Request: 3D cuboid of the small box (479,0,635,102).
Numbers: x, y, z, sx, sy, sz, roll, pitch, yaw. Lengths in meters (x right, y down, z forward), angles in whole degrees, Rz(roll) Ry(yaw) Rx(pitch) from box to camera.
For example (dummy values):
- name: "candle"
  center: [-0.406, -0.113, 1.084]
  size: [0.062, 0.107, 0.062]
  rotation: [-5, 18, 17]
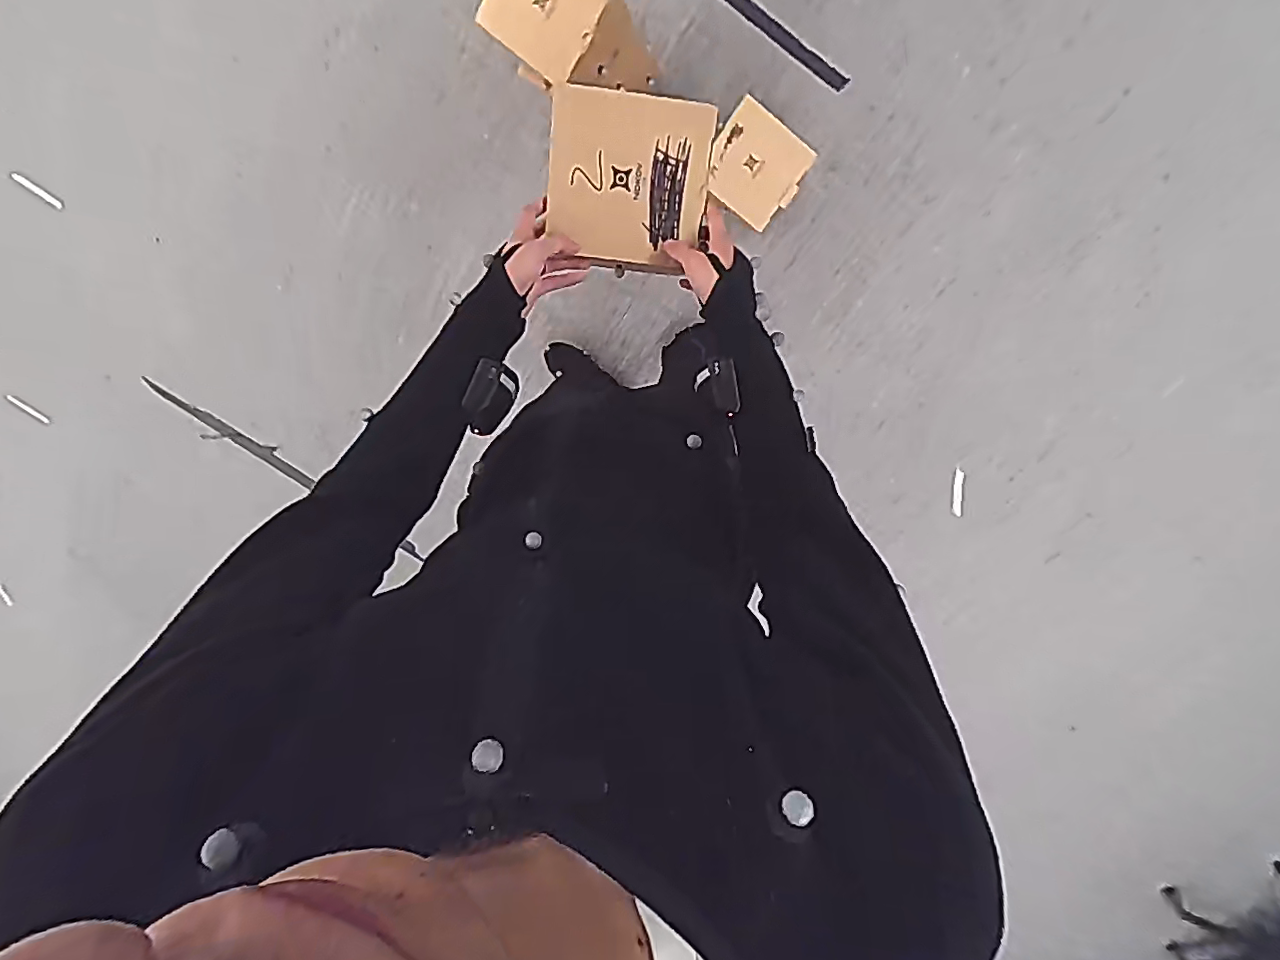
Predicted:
- name: "small box"
  center: [-0.131, -0.782, 0.912]
  size: [0.179, 0.176, 0.168]
  rotation: [36, 115, -7]

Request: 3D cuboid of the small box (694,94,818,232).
- name: "small box"
  center: [0.230, -0.635, 1.101]
  size: [0.179, 0.176, 0.168]
  rotation: [36, 115, -9]

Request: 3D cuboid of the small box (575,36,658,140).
- name: "small box"
  center: [-0.070, -0.902, 1.210]
  size: [0.168, 0.176, 0.179]
  rotation: [30, 116, -5]

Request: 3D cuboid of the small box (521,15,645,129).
- name: "small box"
  center: [-0.103, -0.835, 1.065]
  size: [0.168, 0.176, 0.179]
  rotation: [32, 116, -5]
